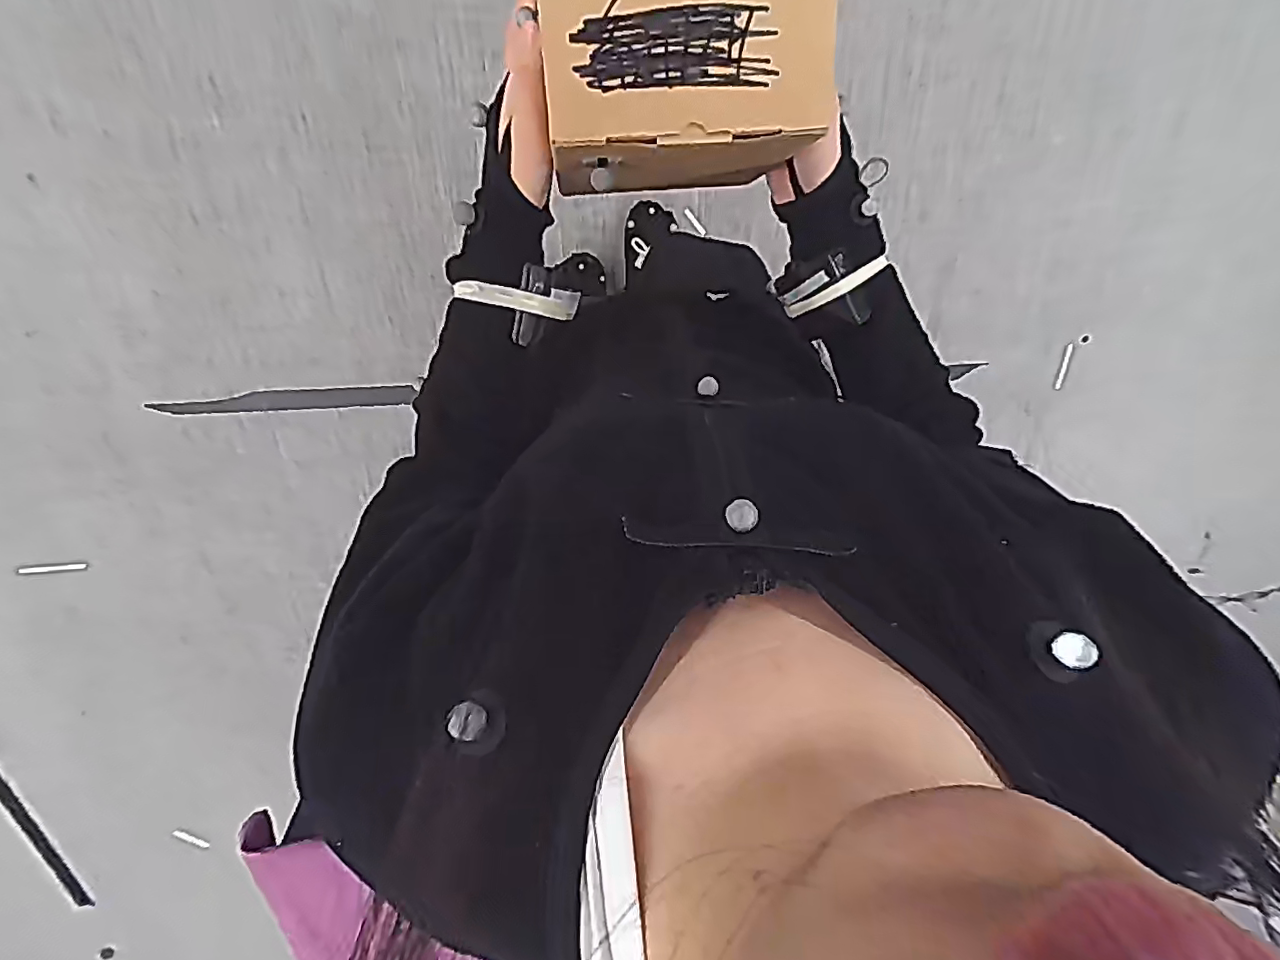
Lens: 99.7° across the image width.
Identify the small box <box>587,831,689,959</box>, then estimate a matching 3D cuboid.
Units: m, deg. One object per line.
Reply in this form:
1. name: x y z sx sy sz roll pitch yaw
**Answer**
1. small box: -0.010 0.813 1.030 0.168 0.176 0.179 -3 115 -10
